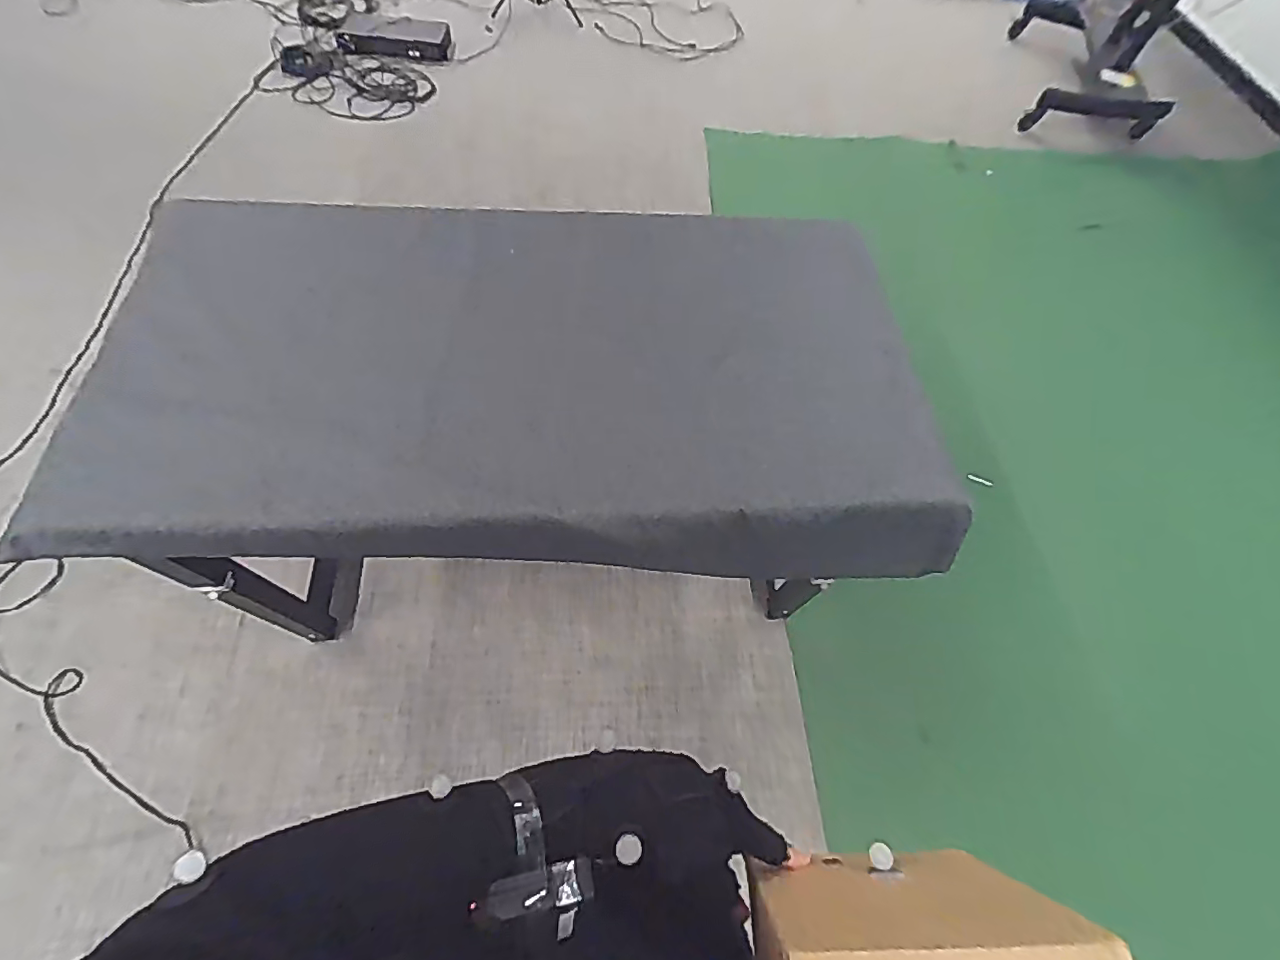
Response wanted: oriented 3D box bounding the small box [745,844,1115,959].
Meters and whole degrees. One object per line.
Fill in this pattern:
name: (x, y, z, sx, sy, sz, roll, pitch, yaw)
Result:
small box: (0.159, 0.339, 0.318, 0.168, 0.176, 0.179, -3, 68, 2)
